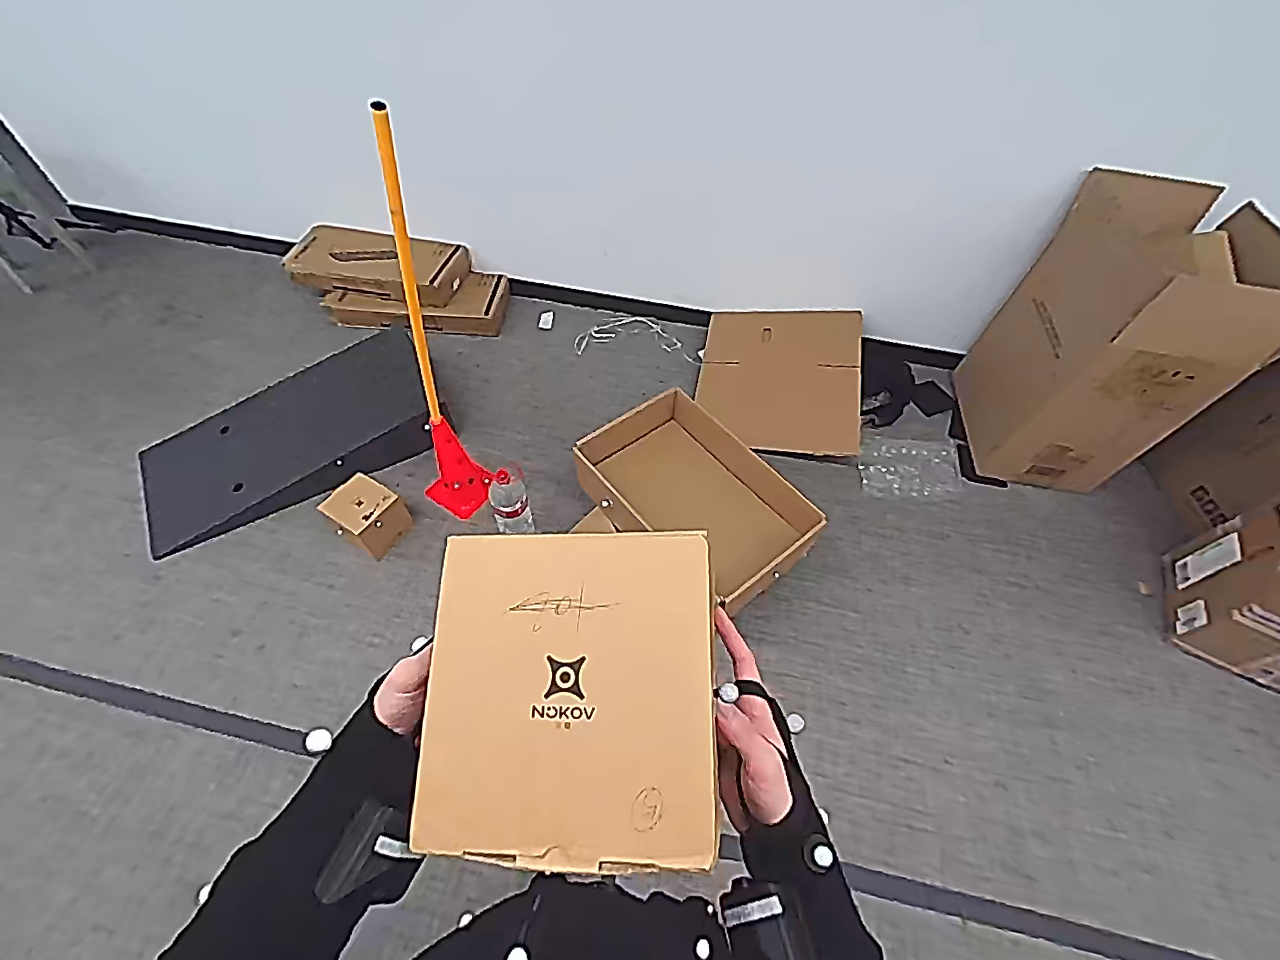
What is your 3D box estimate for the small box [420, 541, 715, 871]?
[{"bbox_3d":[-0.031,0.147,0.392,0.168,0.176,0.179,-2,70,8],"label":"small box"}]
